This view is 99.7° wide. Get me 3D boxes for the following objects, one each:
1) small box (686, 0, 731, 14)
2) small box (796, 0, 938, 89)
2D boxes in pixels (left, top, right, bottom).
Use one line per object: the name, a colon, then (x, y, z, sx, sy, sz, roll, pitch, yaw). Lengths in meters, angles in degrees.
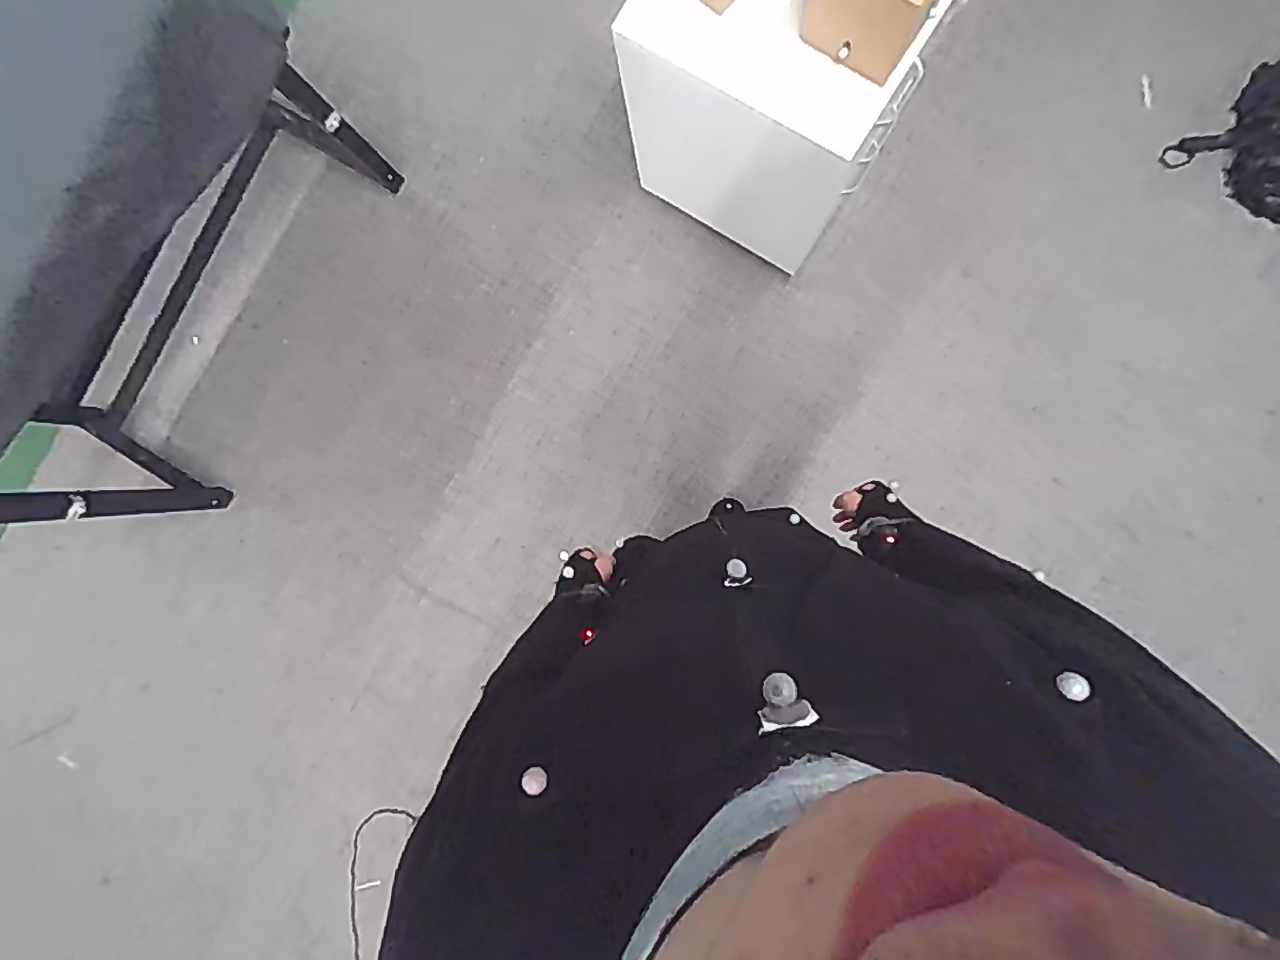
small box: (0.119, -0.933, 0.889, 0.179, 0.176, 0.168, 41, 92, 3)
small box: (0.380, -0.783, 0.870, 0.179, 0.176, 0.168, 34, 92, 3)
